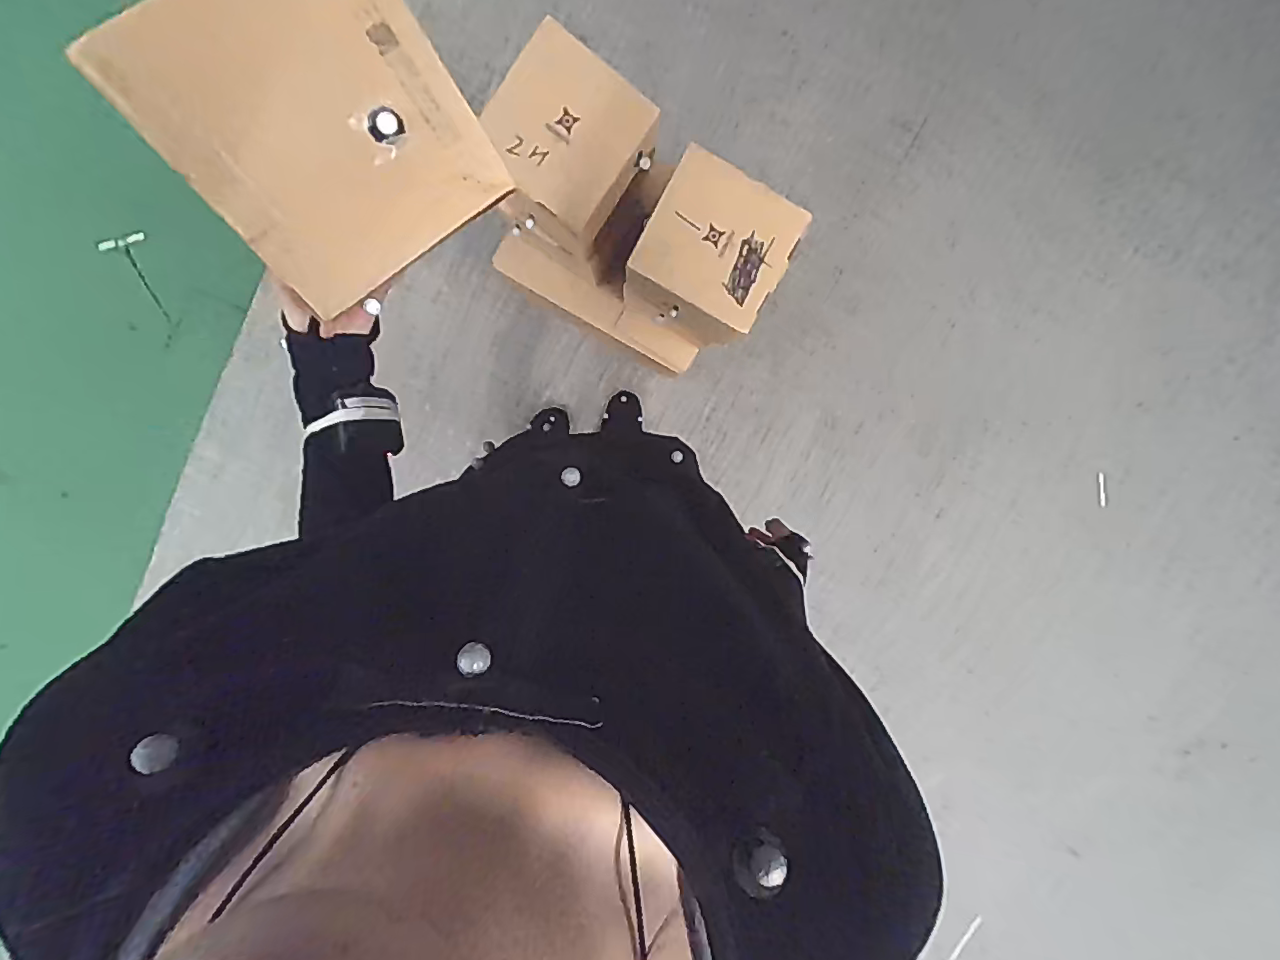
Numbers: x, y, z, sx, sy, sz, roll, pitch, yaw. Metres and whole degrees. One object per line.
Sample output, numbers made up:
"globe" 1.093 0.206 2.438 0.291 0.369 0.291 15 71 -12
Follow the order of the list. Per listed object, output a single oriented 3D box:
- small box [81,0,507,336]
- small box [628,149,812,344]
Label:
"small box" -0.224 -0.234 0.400 0.176 0.179 0.168 -42 124 -8
"small box" 0.099 -0.301 0.744 0.179 0.176 0.168 29 97 -3
